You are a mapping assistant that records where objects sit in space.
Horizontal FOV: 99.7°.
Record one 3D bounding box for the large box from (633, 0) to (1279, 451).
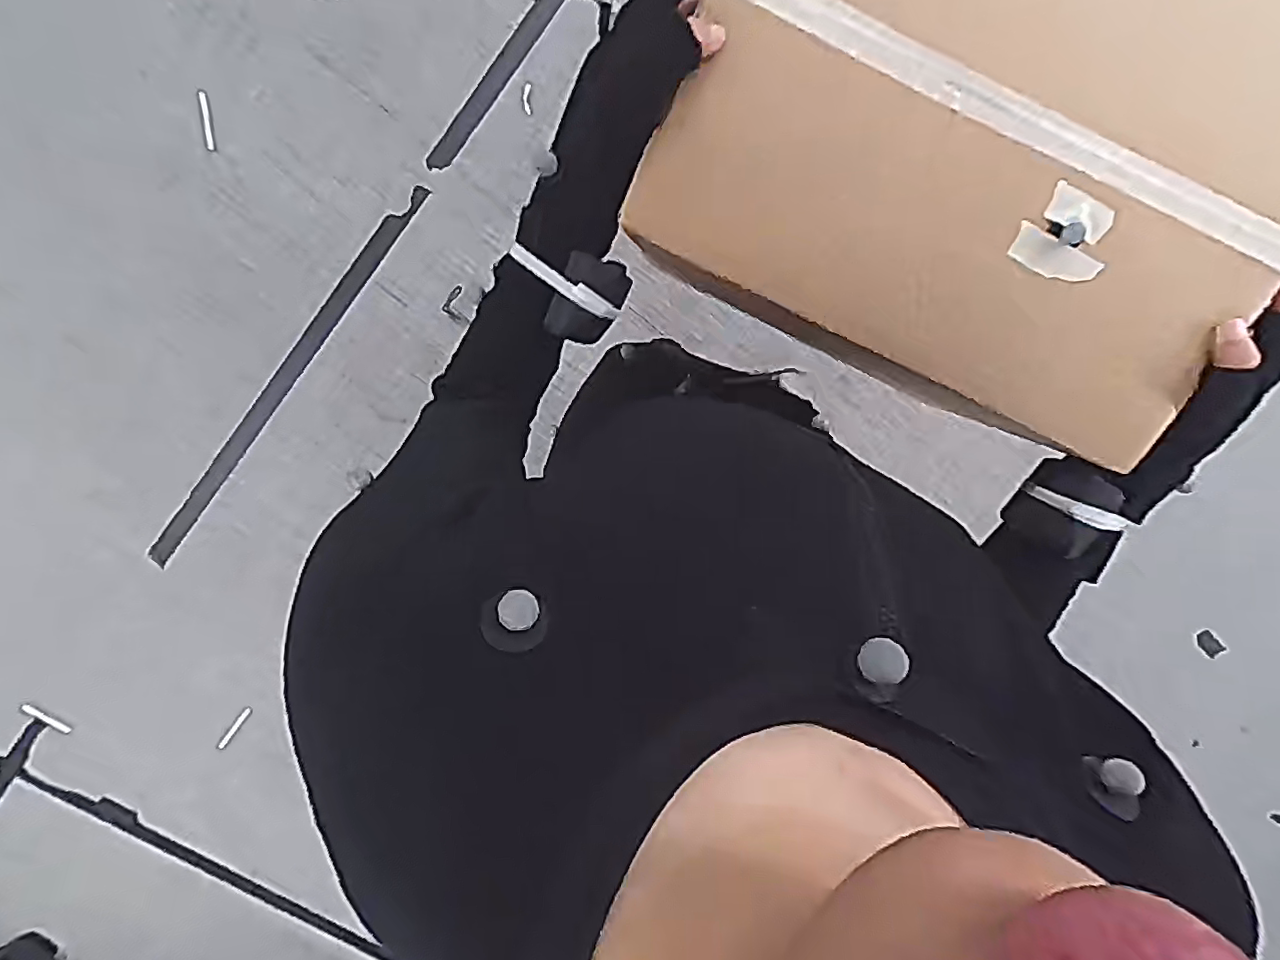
[{"bbox_3d":[0.244,-0.276,0.488,0.408,0.320,0.320,26,109,-4],"label":"large box"}]
